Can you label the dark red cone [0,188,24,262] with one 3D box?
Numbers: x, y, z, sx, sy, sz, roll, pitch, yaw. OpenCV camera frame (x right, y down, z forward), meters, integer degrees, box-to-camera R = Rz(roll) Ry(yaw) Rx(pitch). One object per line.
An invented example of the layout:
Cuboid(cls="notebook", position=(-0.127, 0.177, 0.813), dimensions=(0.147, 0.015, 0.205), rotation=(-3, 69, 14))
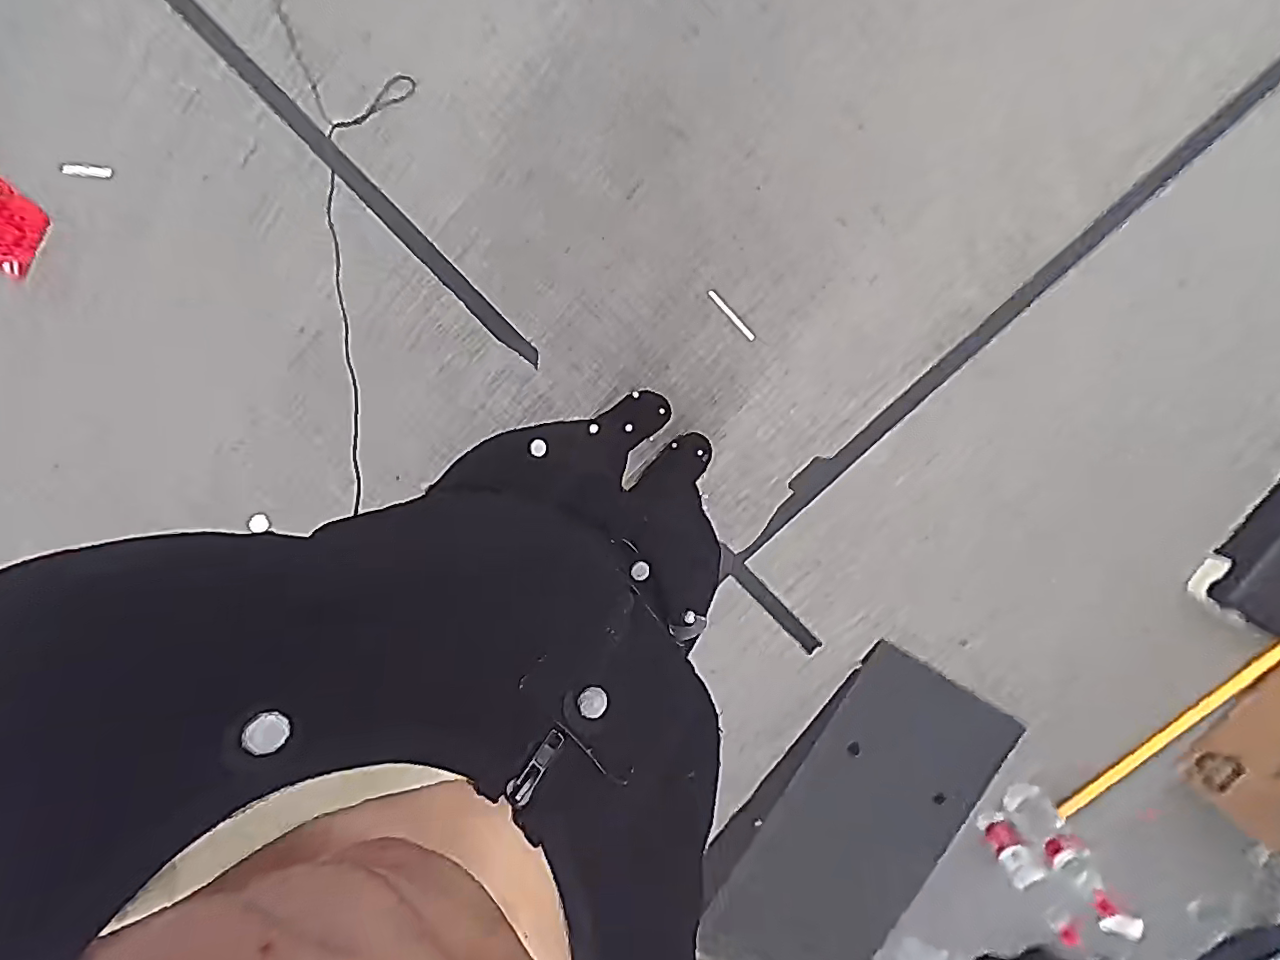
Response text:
Cuboid(cls="dark red cone", position=(-1.563, -0.579, 1.102), dimensions=(0.202, 0.394, 0.201), rotation=(38, 101, -6))
